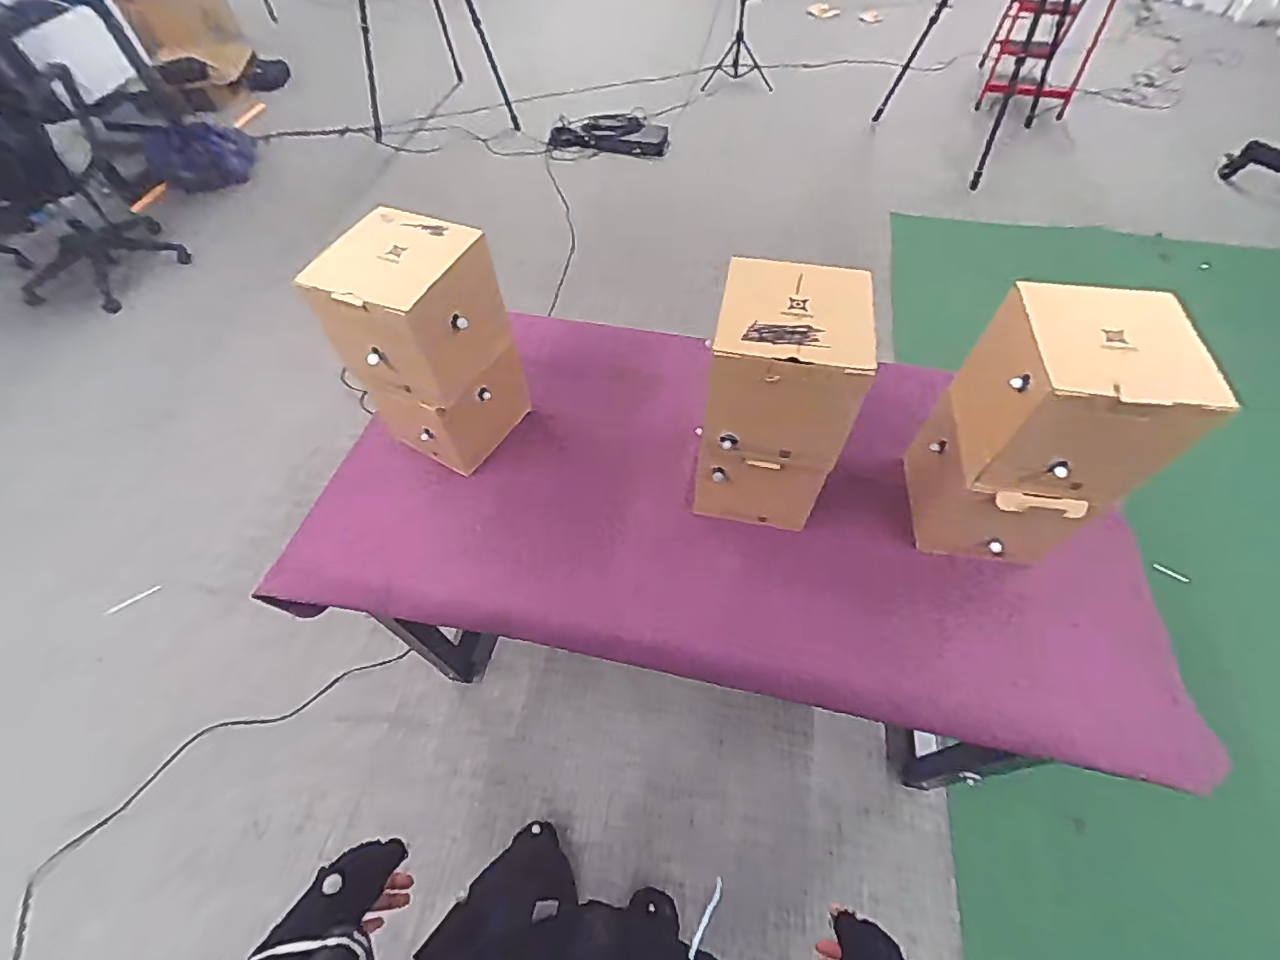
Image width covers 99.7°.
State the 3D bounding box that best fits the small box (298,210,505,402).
[{"bbox_3d":[-0.303,-0.232,0.736,0.168,0.176,0.179,15,58,11],"label":"small box"}]

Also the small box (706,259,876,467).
[{"bbox_3d":[0.176,-0.138,0.659,0.168,0.176,0.179,10,55,7],"label":"small box"}]

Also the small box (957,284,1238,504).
[{"bbox_3d":[0.496,-0.096,0.626,0.168,0.176,0.179,7,57,6],"label":"small box"}]

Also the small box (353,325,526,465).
[{"bbox_3d":[-0.301,-0.153,0.858,0.168,0.176,0.179,27,60,17],"label":"small box"}]

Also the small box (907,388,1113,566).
[{"bbox_3d":[0.494,-0.001,0.759,0.168,0.176,0.179,7,57,7],"label":"small box"}]
